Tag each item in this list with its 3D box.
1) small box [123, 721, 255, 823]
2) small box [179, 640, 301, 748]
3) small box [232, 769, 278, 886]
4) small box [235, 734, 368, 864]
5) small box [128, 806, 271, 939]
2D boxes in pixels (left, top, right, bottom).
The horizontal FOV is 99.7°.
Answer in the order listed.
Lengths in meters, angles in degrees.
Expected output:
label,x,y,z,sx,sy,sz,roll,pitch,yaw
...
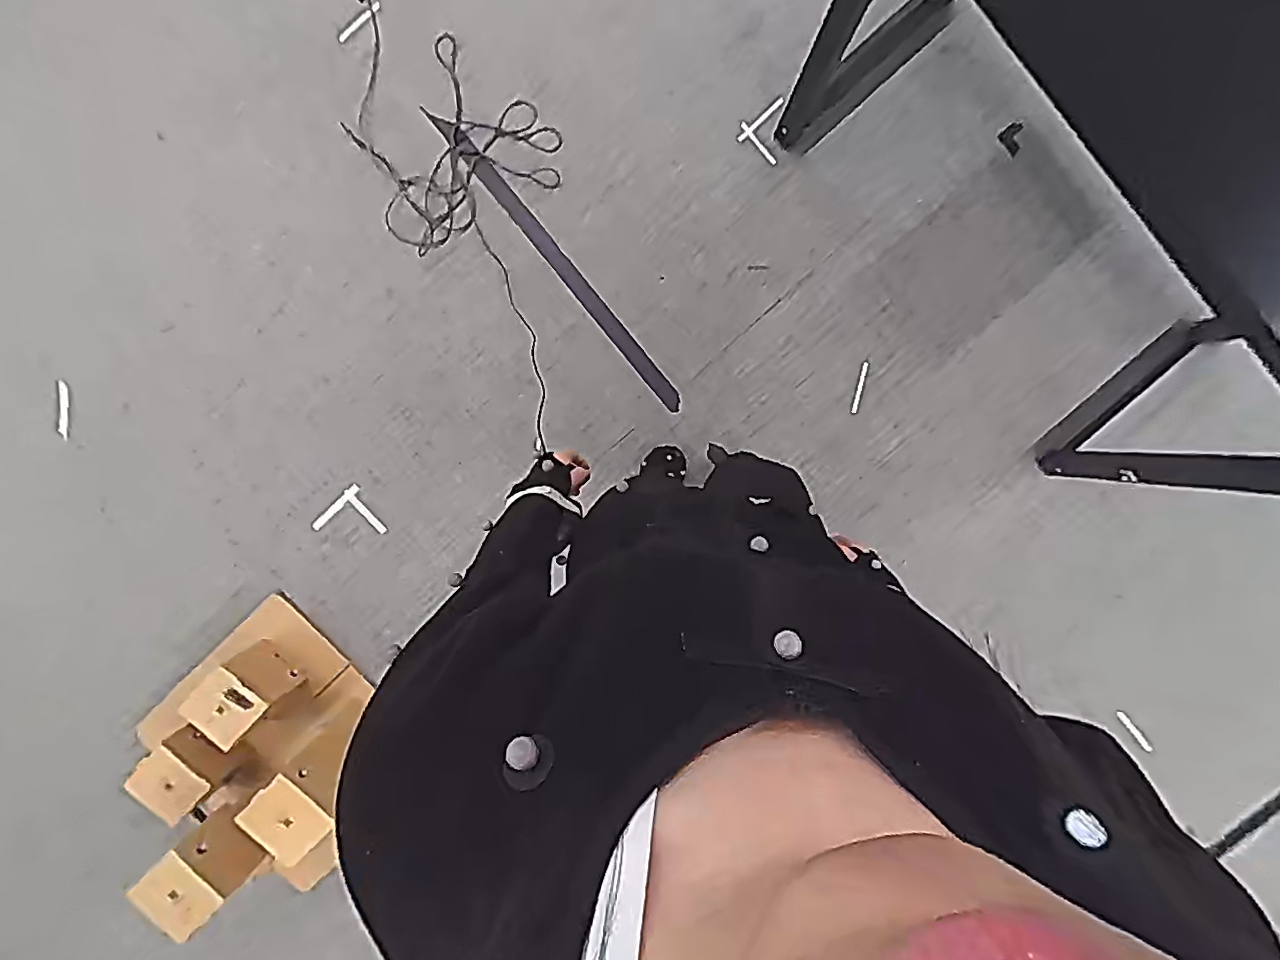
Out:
label,x,y,z,sx,sy,sz,roll,pitch,yaw
small box,-1.220,0.772,1.476,0.179,0.176,0.168,43,95,-4
small box,-1.061,0.567,1.456,0.168,0.176,0.179,44,94,-4
small box,-1.047,0.945,1.488,0.179,0.176,0.168,43,93,-4
small box,-0.804,0.760,1.308,0.179,0.176,0.168,45,93,-4
small box,-1.063,0.942,1.321,0.168,0.176,0.179,-43,94,4
